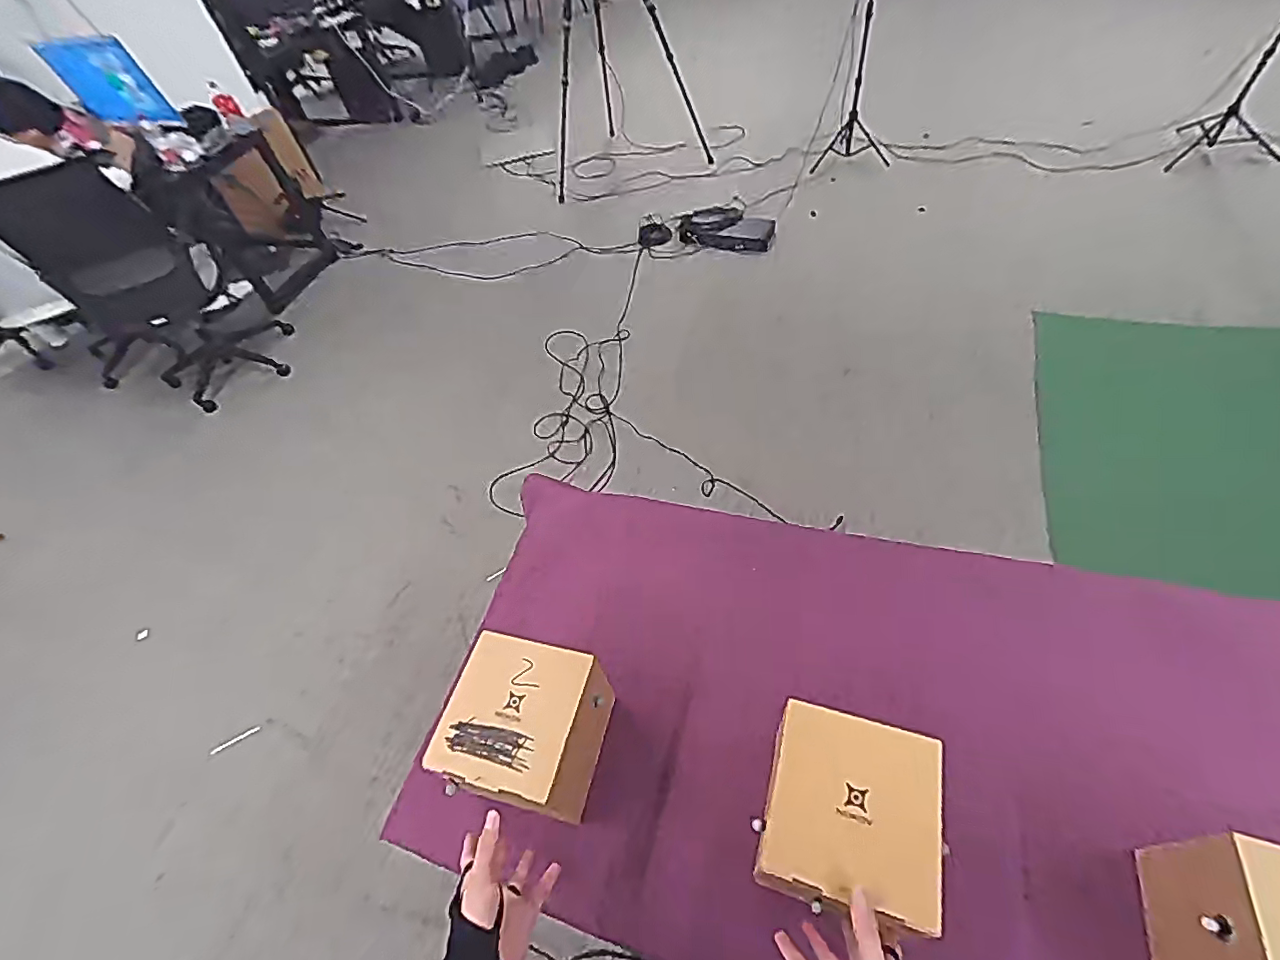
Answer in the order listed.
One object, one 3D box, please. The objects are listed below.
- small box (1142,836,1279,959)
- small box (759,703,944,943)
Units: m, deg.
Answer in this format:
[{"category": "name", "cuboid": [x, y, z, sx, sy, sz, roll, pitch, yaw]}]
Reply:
[{"category": "small box", "cuboid": [0.617, 0.466, 0.499, 0.168, 0.176, 0.179, 10, 54, 18]}, {"category": "small box", "cuboid": [0.235, 0.391, 0.625, 0.168, 0.176, 0.179, 11, 55, 16]}]
